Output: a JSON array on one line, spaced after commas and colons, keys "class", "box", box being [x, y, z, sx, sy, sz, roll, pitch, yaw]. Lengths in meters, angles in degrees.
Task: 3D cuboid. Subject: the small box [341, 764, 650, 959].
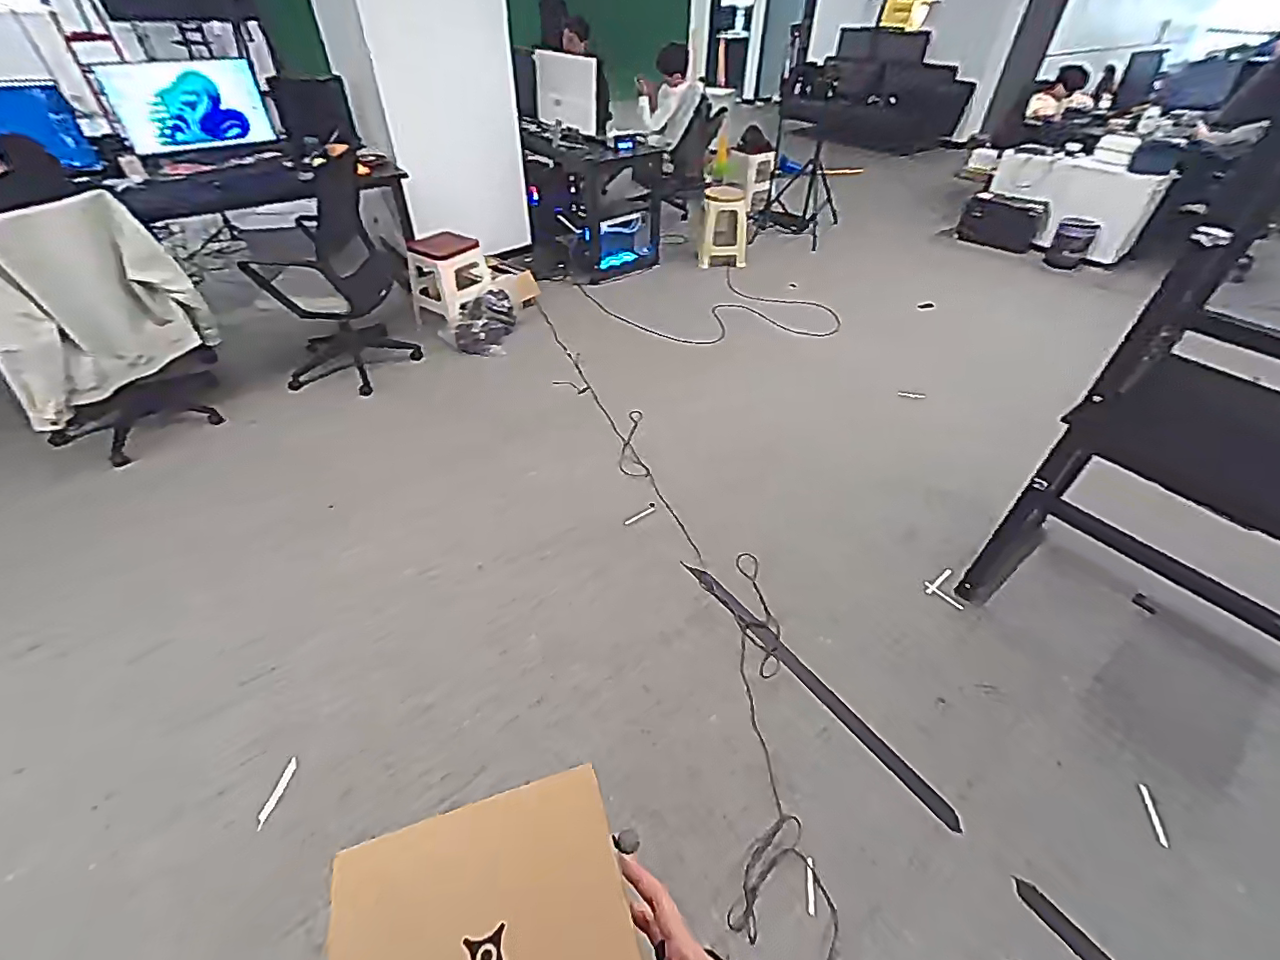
[{"class": "small box", "box": [-0.079, 0.324, 0.351, 0.168, 0.176, 0.179, -13, 47, -12]}]
